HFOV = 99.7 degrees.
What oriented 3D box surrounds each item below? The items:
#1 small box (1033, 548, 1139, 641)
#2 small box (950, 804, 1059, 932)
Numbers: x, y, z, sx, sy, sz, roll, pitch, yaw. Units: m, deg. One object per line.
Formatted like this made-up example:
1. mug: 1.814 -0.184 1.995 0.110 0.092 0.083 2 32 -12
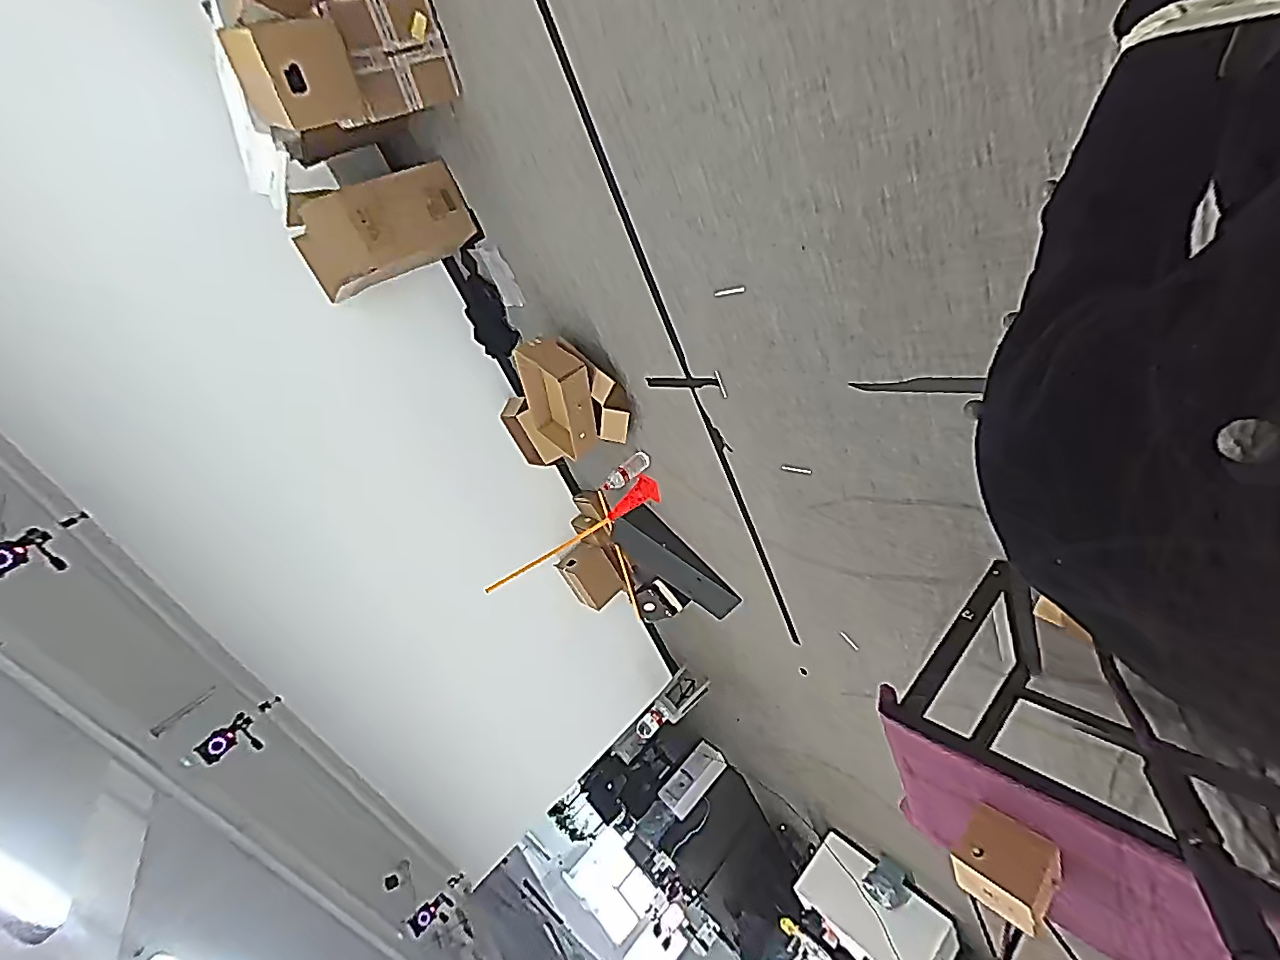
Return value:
1. small box: 1.301 0.325 1.579 0.179 0.176 0.168 28 145 39
2. small box: 0.907 0.949 1.344 0.179 0.176 0.168 15 138 51
